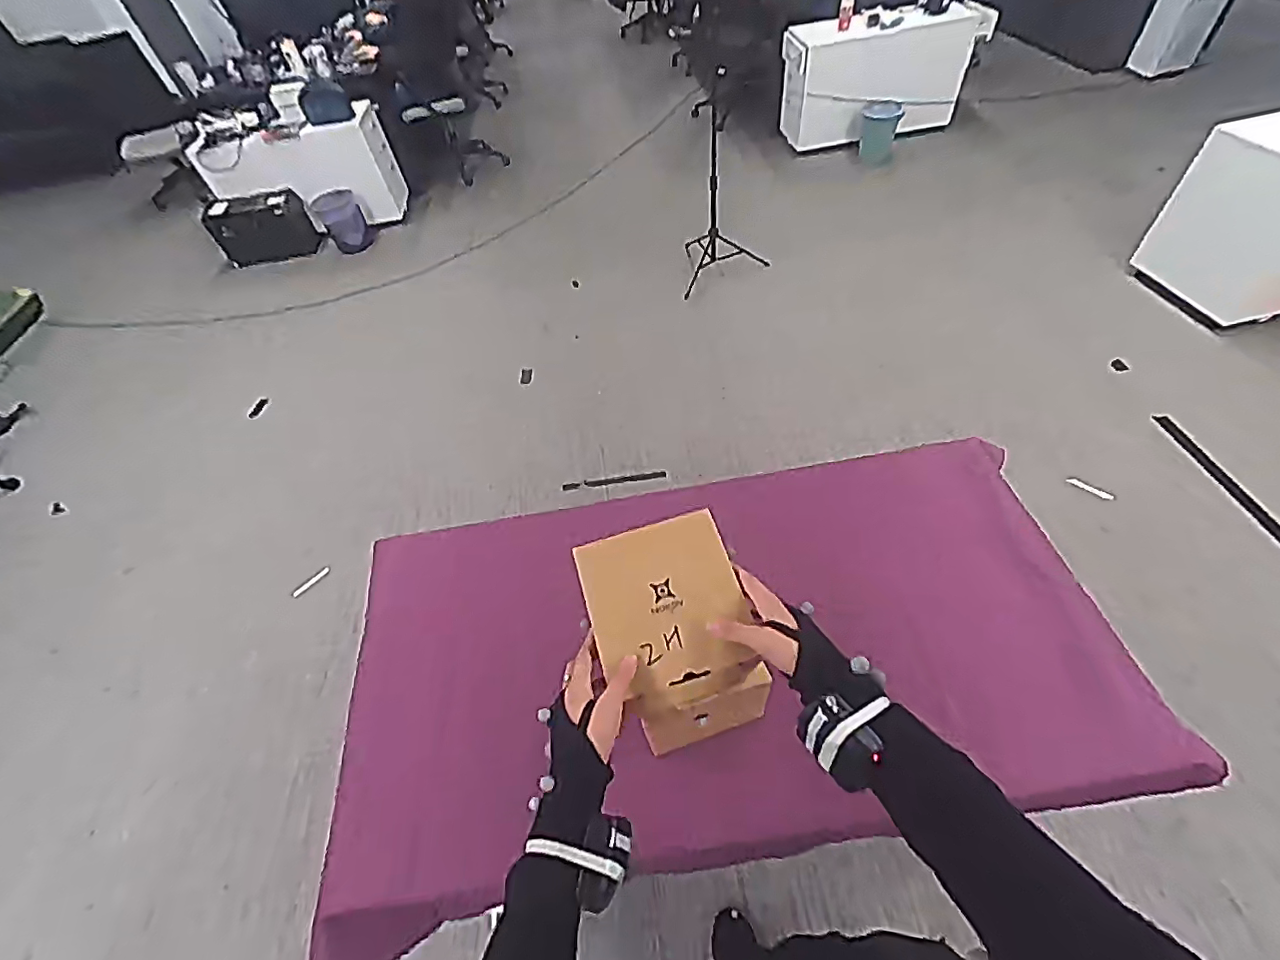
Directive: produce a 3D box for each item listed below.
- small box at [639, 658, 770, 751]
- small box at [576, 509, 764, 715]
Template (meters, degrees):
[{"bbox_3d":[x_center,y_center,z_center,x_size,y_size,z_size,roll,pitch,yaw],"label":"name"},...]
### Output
[{"bbox_3d":[0.072,0.271,0.789,0.179,0.176,0.168,-18,52,-7],"label":"small box"},{"bbox_3d":[0.030,0.164,0.649,0.168,0.176,0.179,-16,62,-4],"label":"small box"}]
